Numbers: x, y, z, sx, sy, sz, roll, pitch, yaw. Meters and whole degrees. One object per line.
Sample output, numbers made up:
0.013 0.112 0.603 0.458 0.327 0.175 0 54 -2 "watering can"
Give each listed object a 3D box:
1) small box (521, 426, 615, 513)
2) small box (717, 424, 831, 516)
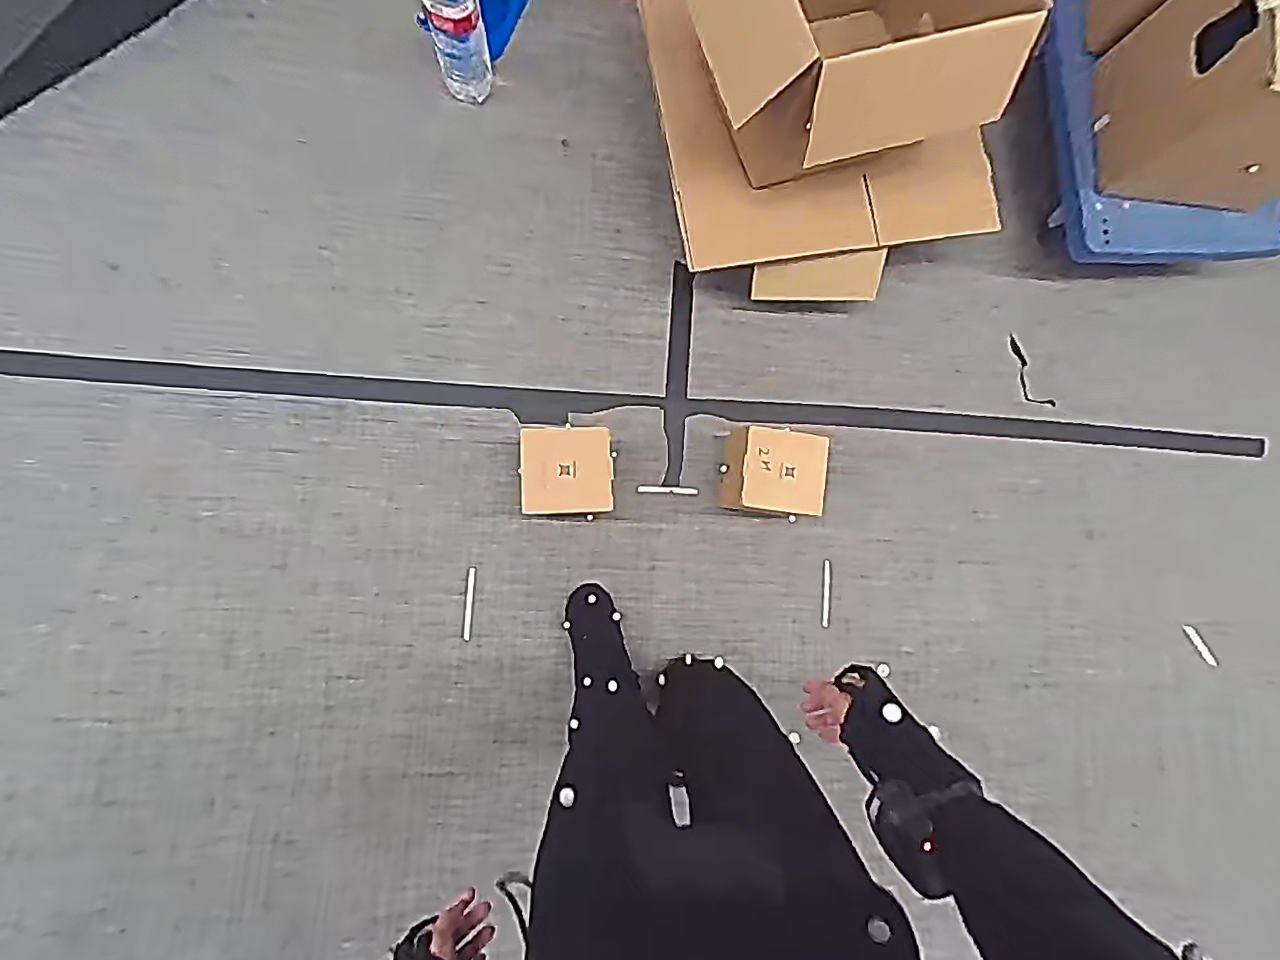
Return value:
-0.147 -0.017 1.105 0.179 0.176 0.168 -2 86 -7 "small box"
0.282 -0.017 1.162 0.179 0.176 0.168 8 85 -8 "small box"
